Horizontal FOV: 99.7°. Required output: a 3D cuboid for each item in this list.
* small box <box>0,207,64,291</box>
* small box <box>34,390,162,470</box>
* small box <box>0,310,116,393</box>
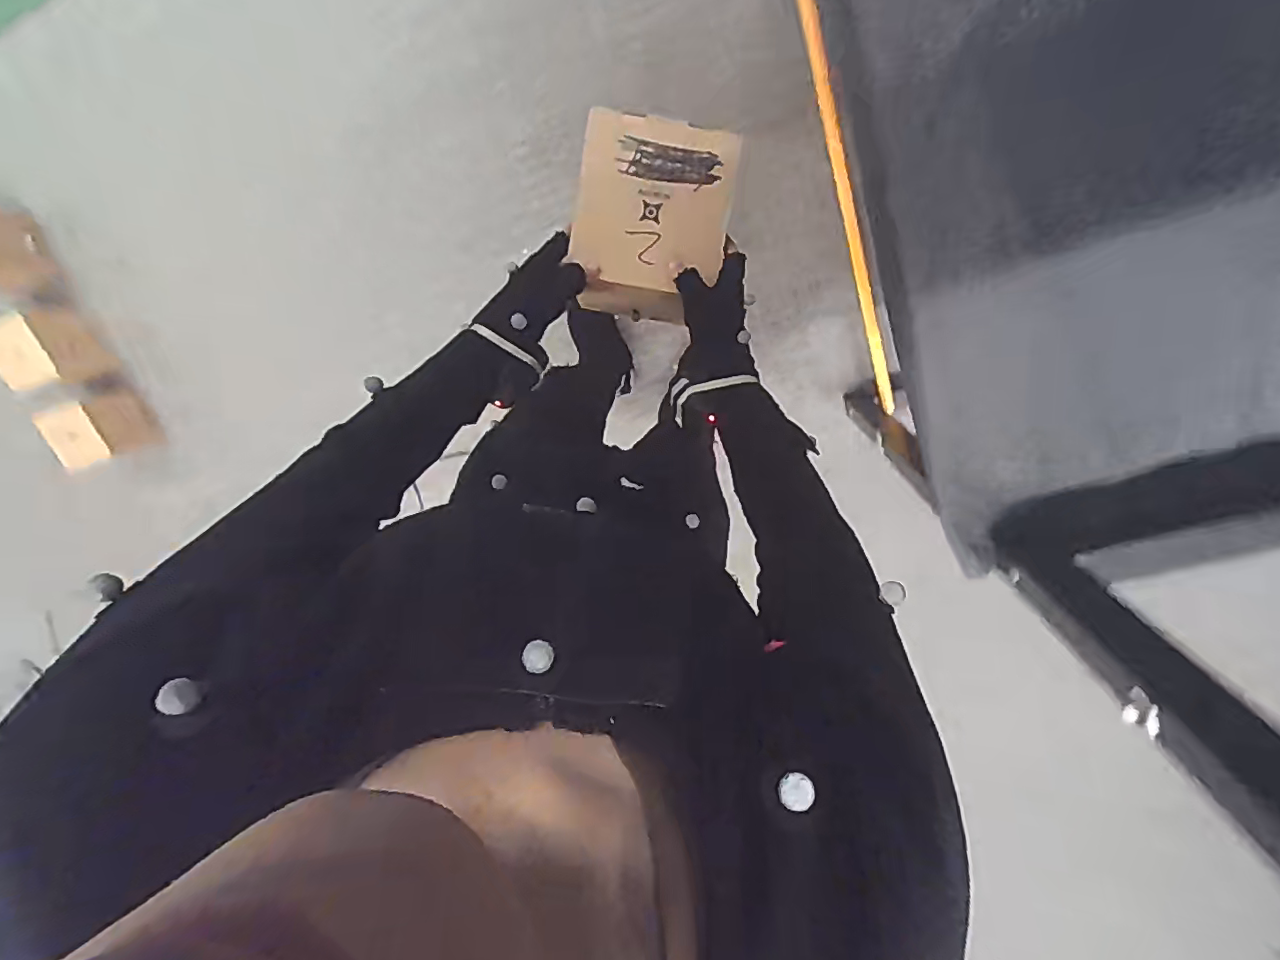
[{"bbox_3d":[-1.684,-0.596,1.401,0.179,0.176,0.168,-15,108,12],"label":"small box"},{"bbox_3d":[-1.537,-0.148,1.553,0.179,0.176,0.168,-14,108,12],"label":"small box"},{"bbox_3d":[-1.608,-0.358,1.484,0.179,0.176,0.168,-16,108,13],"label":"small box"}]
